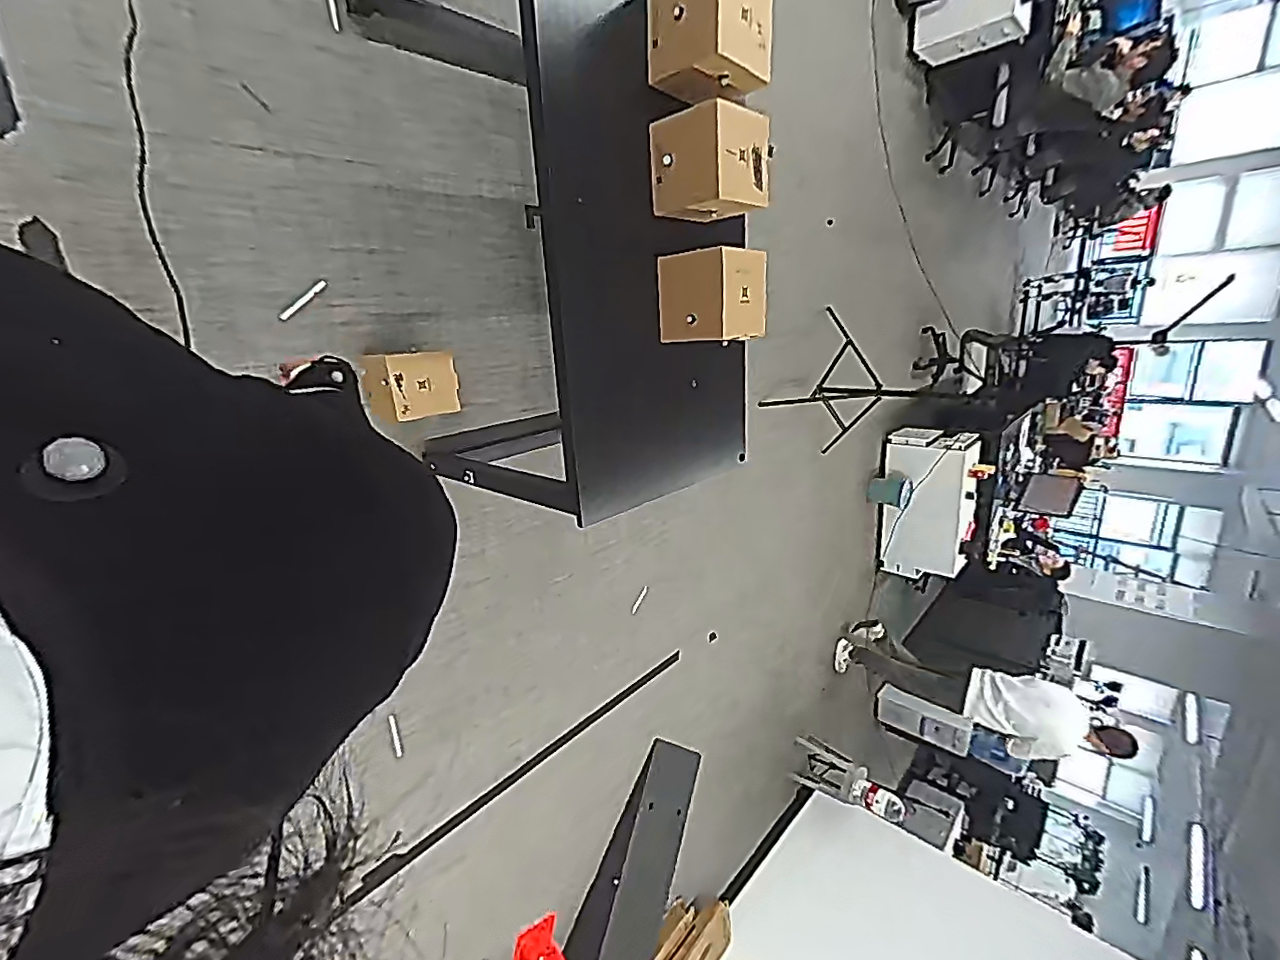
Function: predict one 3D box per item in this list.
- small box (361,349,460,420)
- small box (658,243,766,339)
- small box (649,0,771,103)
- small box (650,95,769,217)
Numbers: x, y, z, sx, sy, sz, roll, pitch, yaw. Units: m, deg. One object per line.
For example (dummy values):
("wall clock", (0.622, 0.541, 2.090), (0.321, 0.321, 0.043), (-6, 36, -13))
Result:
("small box", (-0.610, -0.260, 1.439), (0.179, 0.176, 0.168), (-21, 113, -43))
("small box", (0.152, -0.394, 1.151), (0.168, 0.176, 0.179), (-20, 112, -45))
("small box", (0.130, -0.849, 1.022), (0.179, 0.176, 0.168), (-15, 110, -45))
("small box", (0.139, -0.632, 1.079), (0.179, 0.176, 0.168), (-20, 113, -42))
